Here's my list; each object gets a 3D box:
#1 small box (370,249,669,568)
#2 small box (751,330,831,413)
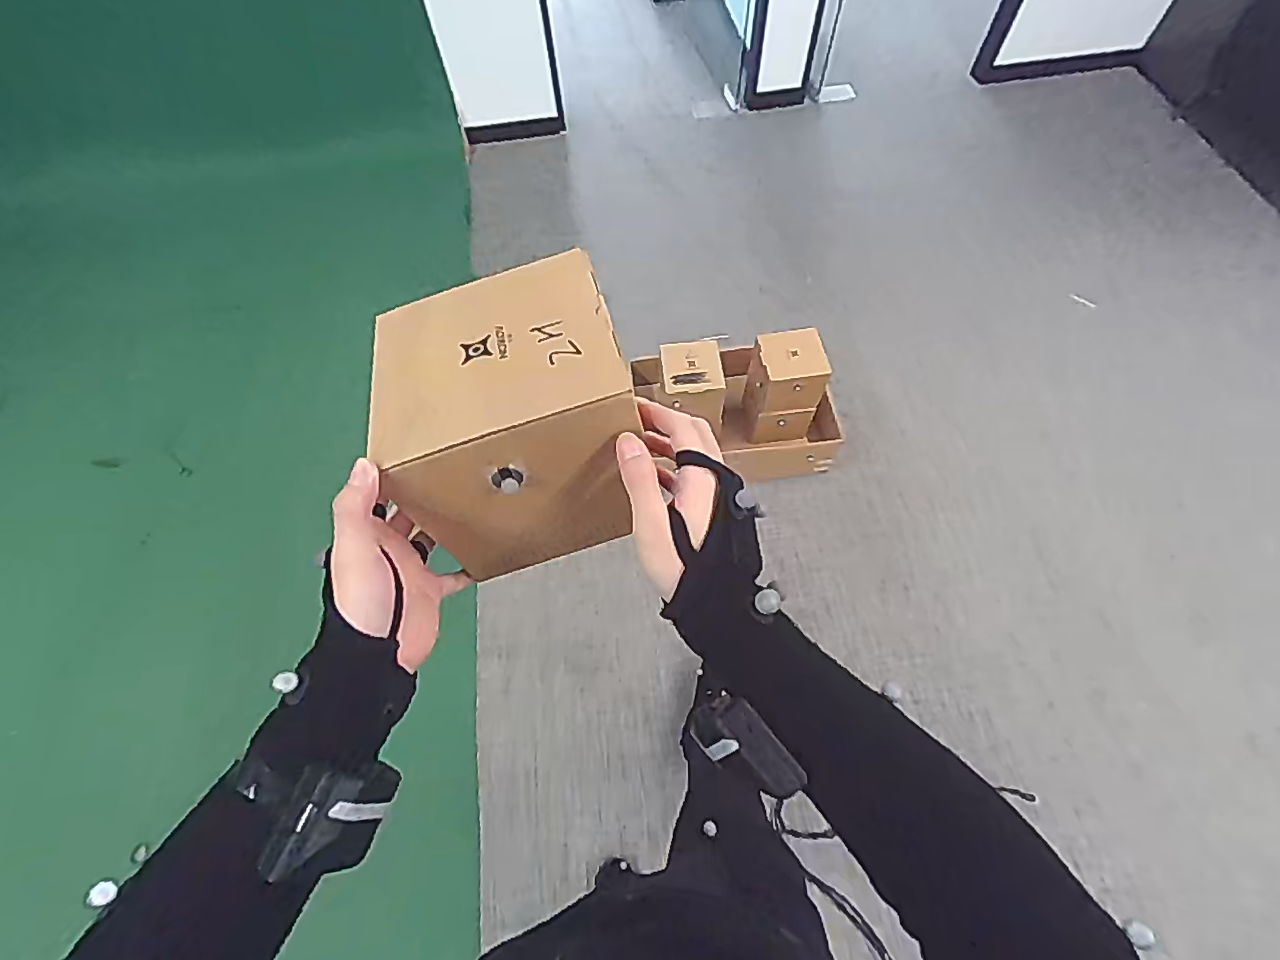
[{"bbox_3d":[-0.088,-0.049,0.443,0.179,0.176,0.168,-17,54,0],"label":"small box"},{"bbox_3d":[0.429,-0.309,1.571,0.179,0.176,0.168,-8,63,-2],"label":"small box"}]
